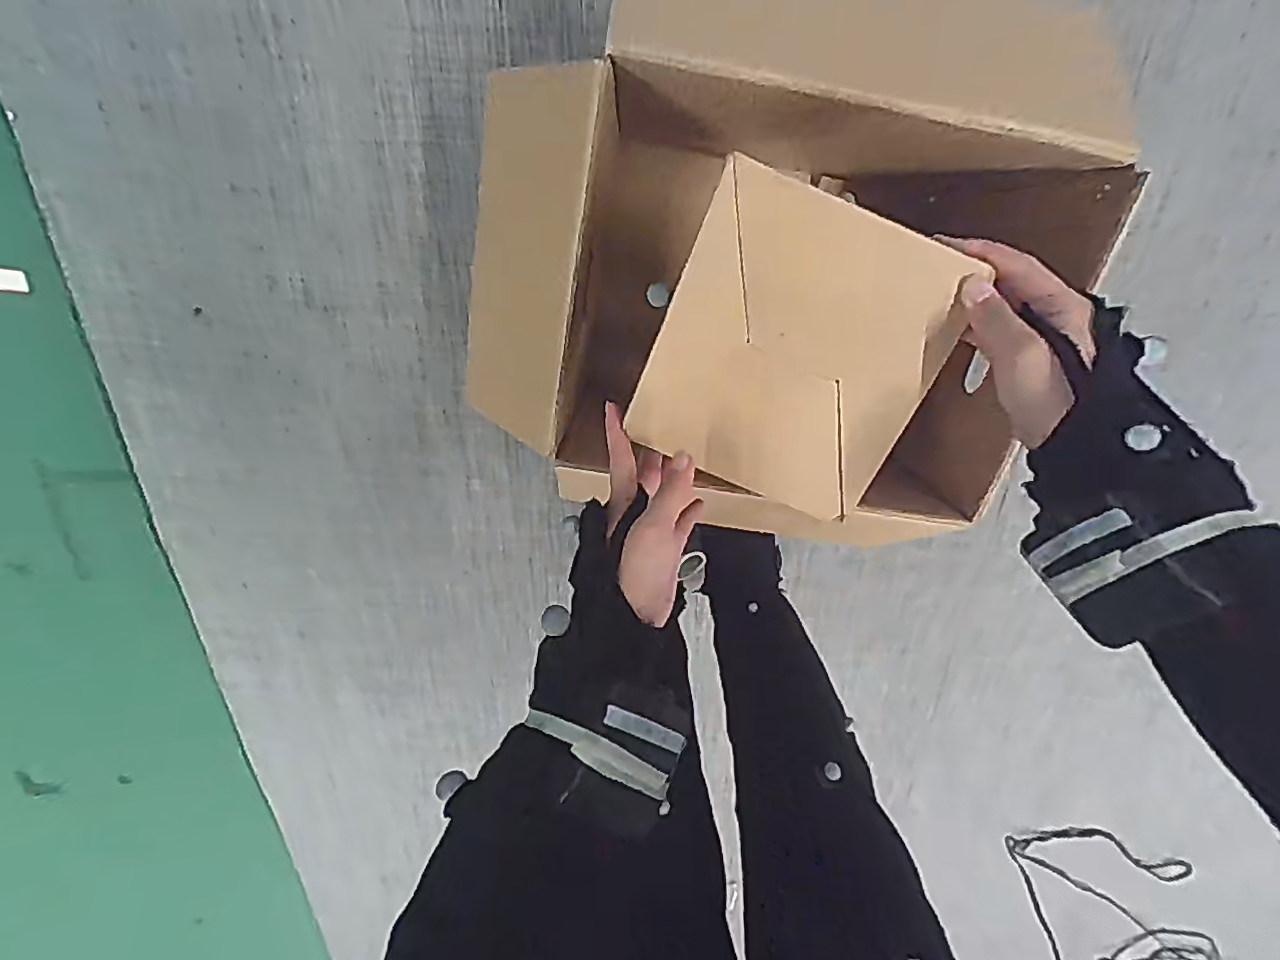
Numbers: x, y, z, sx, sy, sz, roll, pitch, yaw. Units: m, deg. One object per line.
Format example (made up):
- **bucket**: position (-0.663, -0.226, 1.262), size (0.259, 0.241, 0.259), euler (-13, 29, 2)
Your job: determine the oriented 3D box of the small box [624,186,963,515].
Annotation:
- **small box**: position (0.098, -0.103, 0.411), size (0.168, 0.176, 0.179), euler (22, 113, -3)
